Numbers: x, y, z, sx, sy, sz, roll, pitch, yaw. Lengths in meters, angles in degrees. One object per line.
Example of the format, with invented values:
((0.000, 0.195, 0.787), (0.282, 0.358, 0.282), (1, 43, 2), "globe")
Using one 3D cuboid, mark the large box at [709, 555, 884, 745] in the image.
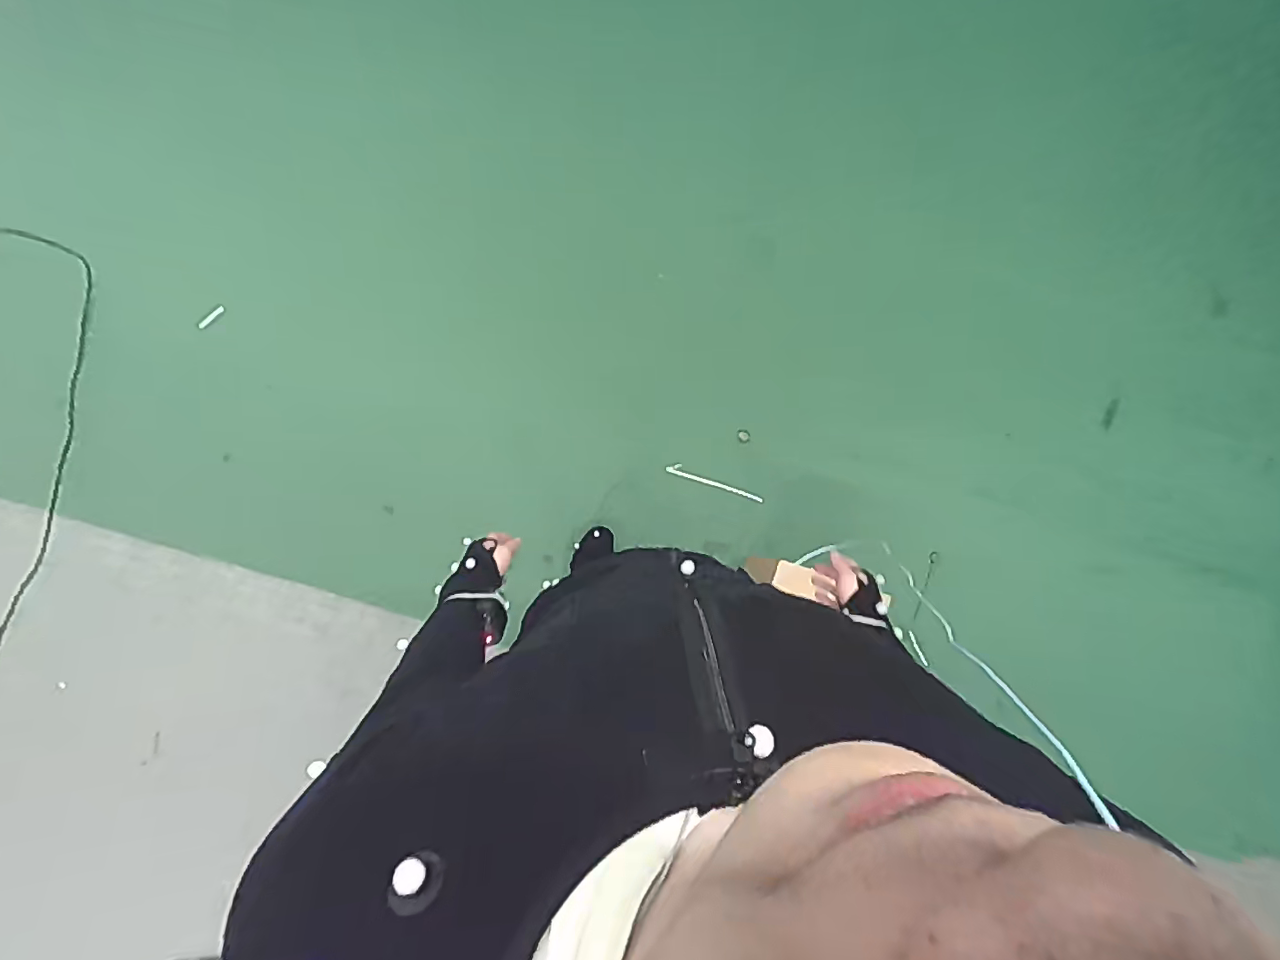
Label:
((0.422, 0.448, 1.520), (0.320, 0.320, 0.408), (18, 83, -3), "large box")
